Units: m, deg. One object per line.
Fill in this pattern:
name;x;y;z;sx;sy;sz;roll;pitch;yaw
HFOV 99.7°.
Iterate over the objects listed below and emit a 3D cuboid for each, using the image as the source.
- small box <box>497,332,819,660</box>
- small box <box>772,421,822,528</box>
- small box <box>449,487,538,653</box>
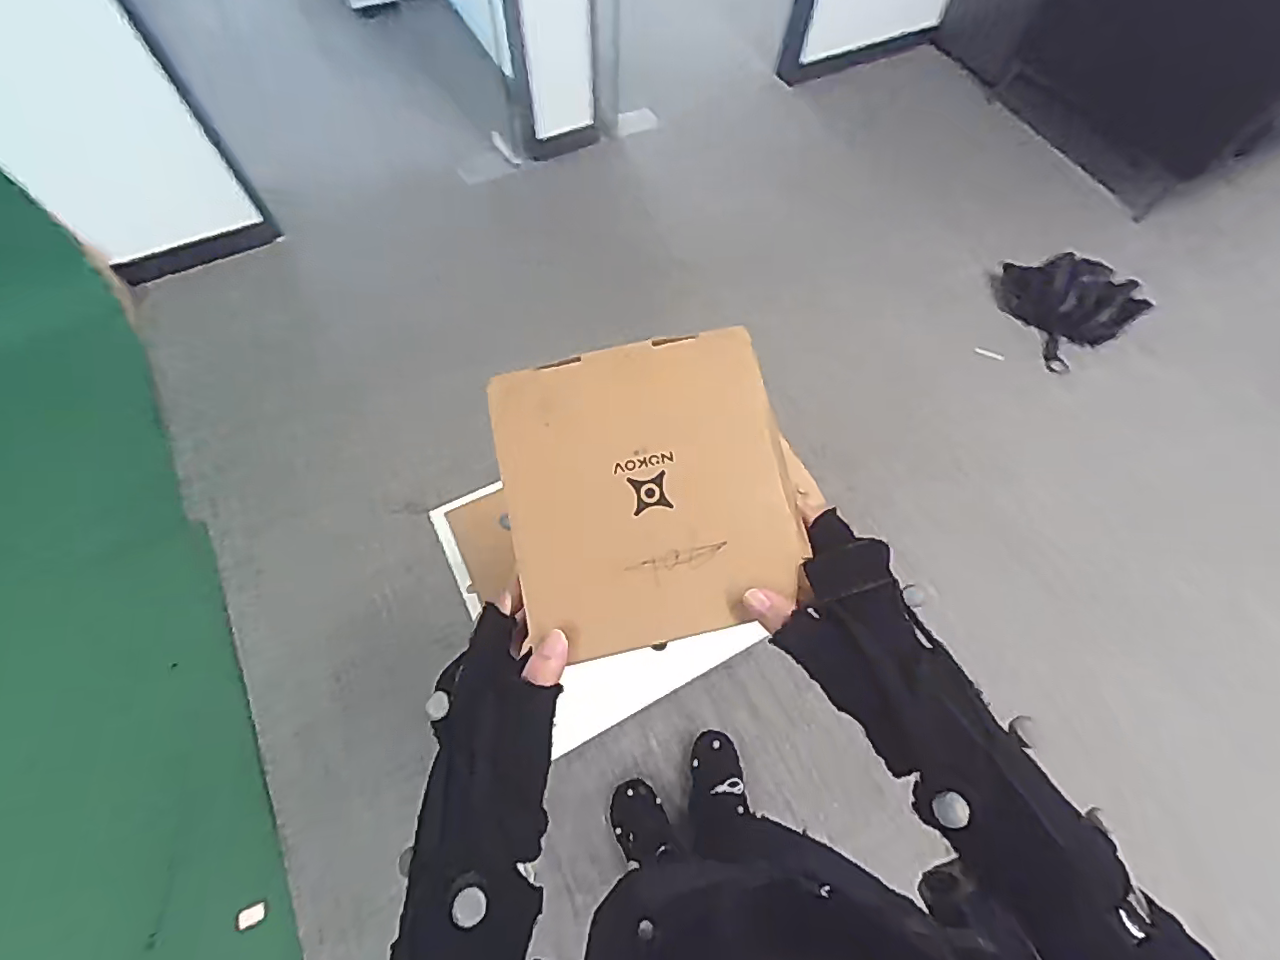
small box;0.007;0.020;0.400;0.168;0.176;0.179;-12;79;-1
small box;0.121;0.022;0.771;0.168;0.176;0.179;-22;67;-11
small box;-0.126;0.114;0.718;0.168;0.176;0.179;-24;67;-14
